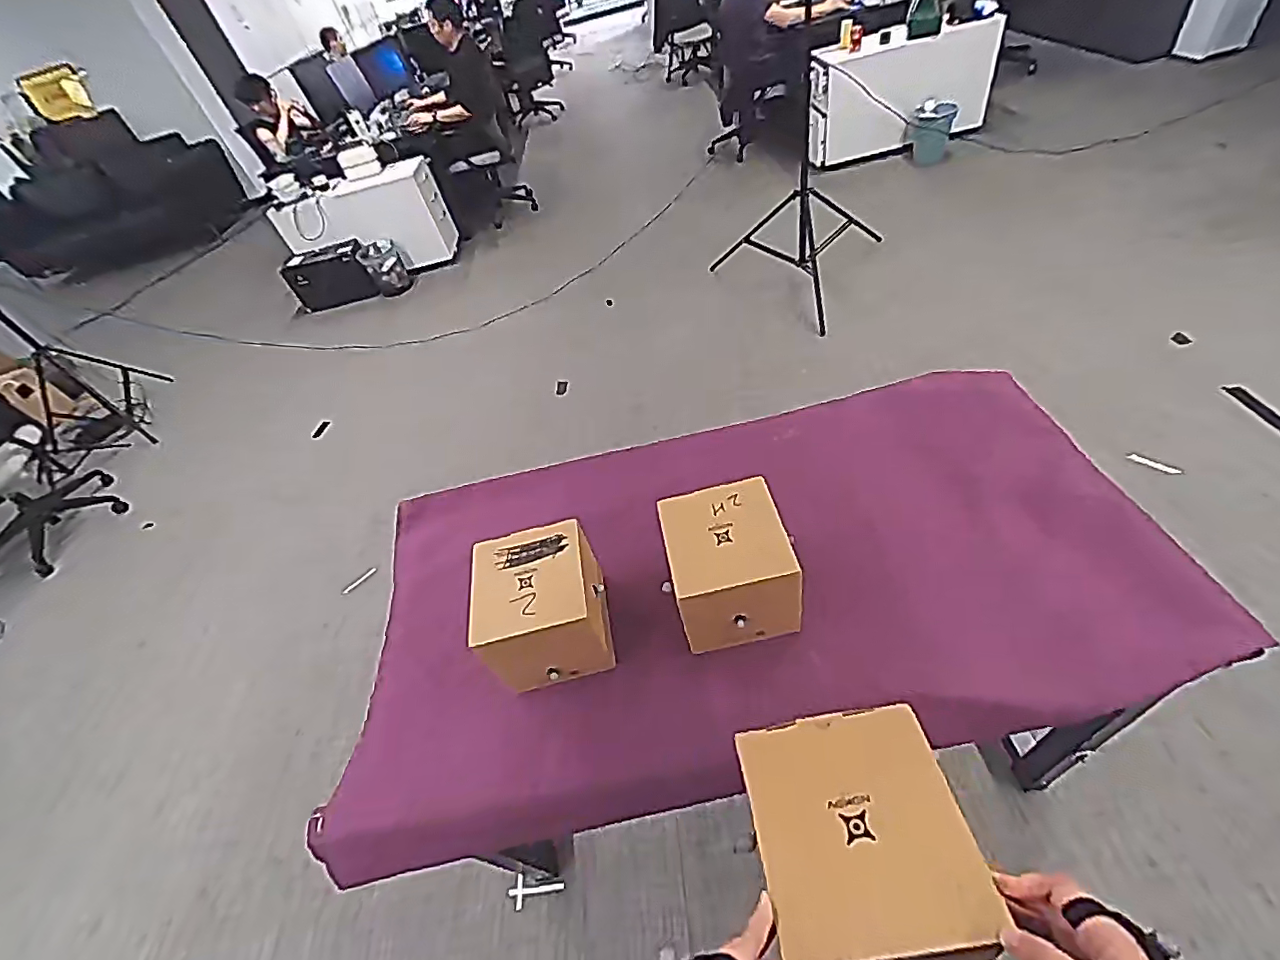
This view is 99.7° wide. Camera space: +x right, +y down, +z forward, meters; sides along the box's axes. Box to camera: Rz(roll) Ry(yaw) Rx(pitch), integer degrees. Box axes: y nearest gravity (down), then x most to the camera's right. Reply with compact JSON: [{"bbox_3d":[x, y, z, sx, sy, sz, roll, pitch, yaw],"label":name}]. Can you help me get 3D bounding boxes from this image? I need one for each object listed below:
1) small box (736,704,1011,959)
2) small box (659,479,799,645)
[{"bbox_3d":[0.195,0.341,0.496,0.168,0.176,0.179,-13,38,5],"label":"small box"},{"bbox_3d":[0.133,0.131,0.813,0.168,0.176,0.179,-13,46,3],"label":"small box"}]
